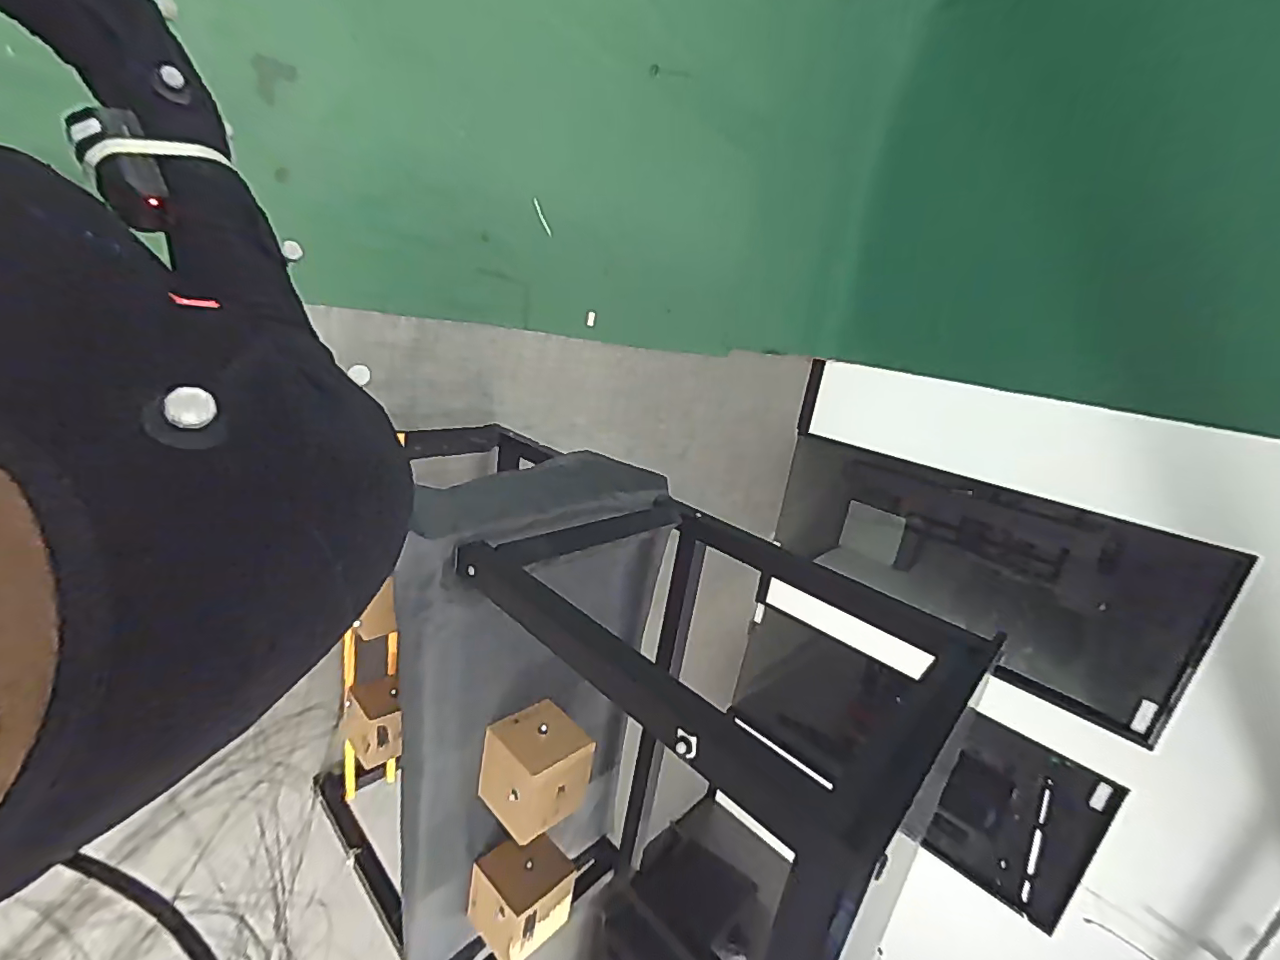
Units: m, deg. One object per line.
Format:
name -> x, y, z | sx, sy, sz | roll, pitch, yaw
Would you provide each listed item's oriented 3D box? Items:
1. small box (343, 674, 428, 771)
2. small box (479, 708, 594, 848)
small box -> -0.751, 0.703, 1.587 | 0.179, 0.176, 0.168 | -5, 112, -48
small box -> -0.224, 0.618, 1.154 | 0.168, 0.176, 0.179 | -5, 112, -48
